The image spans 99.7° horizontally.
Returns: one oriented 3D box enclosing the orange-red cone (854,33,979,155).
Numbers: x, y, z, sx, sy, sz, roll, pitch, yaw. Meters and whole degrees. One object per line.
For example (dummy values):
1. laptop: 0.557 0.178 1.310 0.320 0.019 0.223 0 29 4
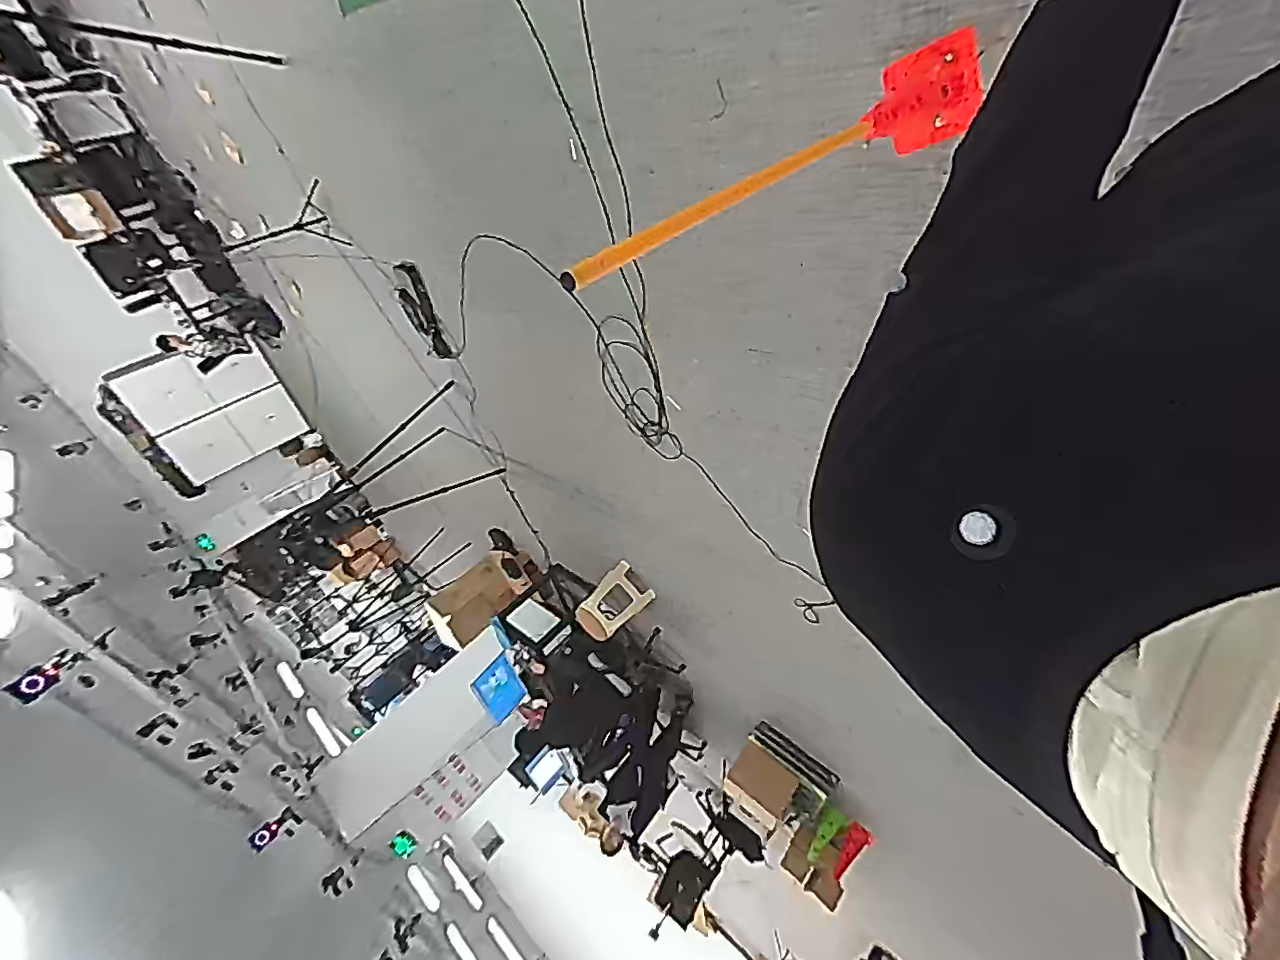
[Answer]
1. orange-red cone: 0.564 -0.799 1.178 0.199 0.360 0.198 9 129 50
